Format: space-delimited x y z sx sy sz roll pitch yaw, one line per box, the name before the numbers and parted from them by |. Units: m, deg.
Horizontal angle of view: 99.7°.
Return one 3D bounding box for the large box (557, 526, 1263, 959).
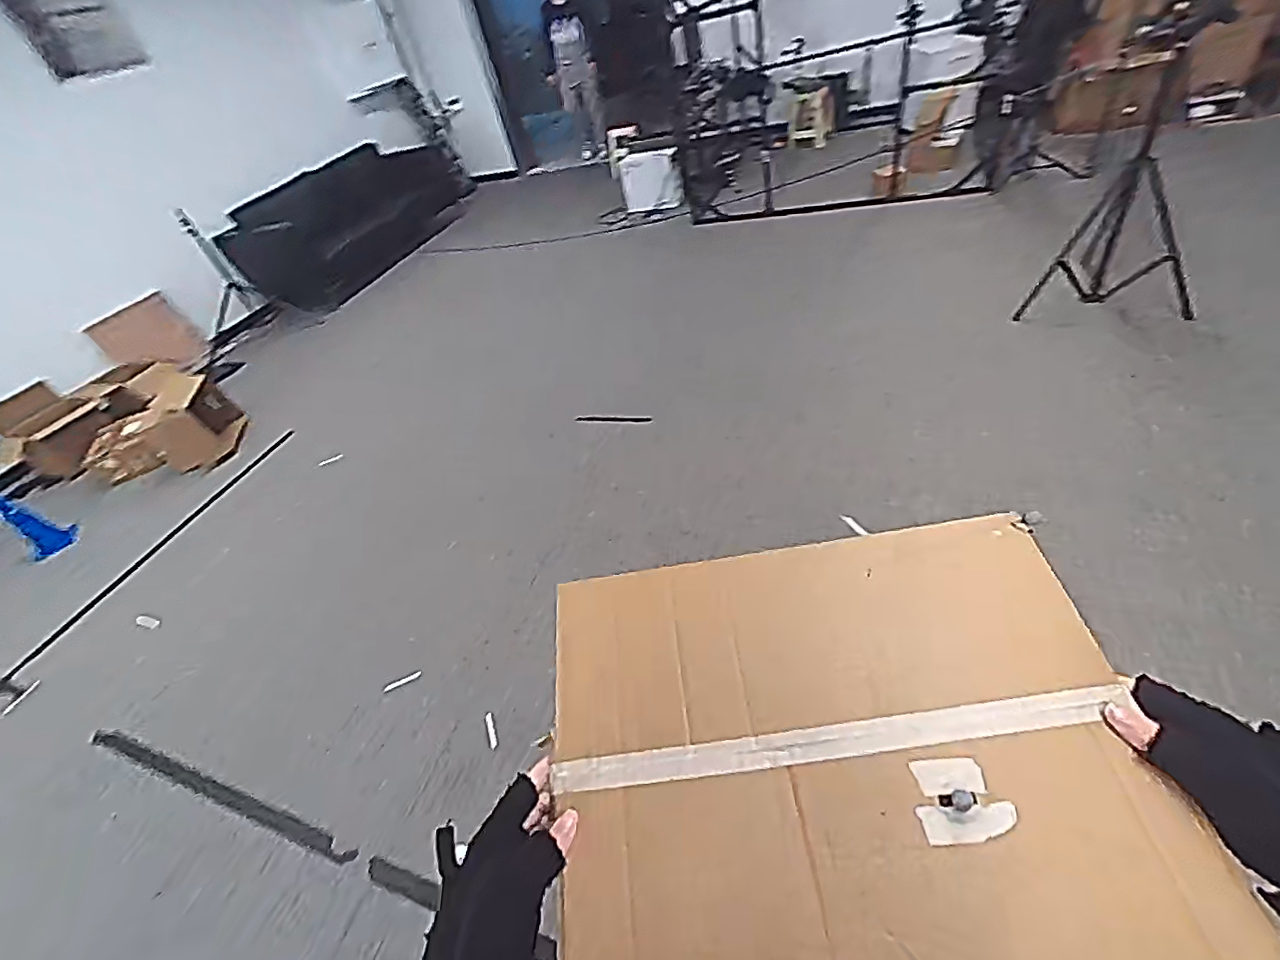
large box | 0.158 0.285 0.512 0.408 0.320 0.320 -11 53 3
